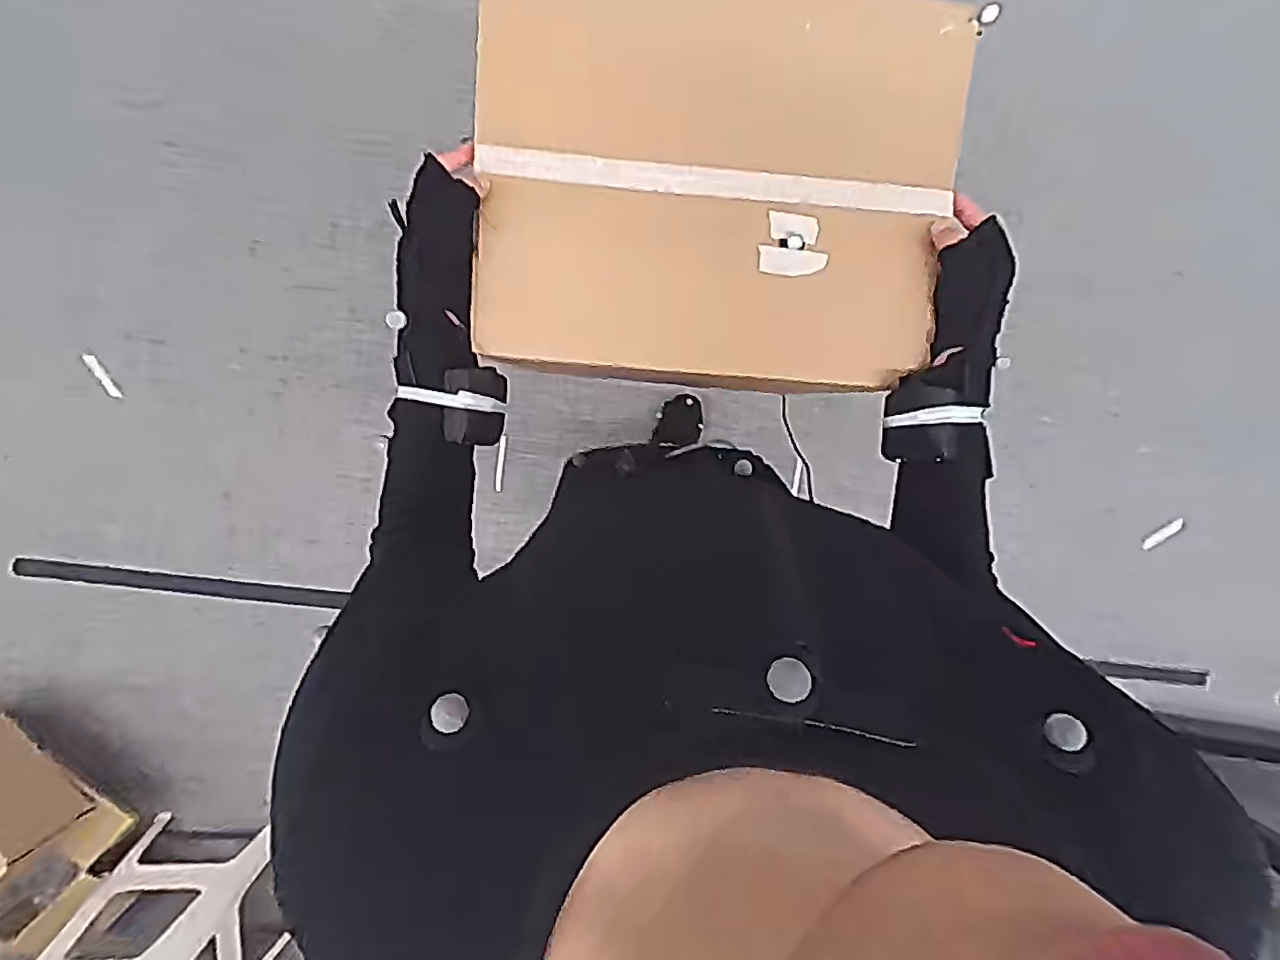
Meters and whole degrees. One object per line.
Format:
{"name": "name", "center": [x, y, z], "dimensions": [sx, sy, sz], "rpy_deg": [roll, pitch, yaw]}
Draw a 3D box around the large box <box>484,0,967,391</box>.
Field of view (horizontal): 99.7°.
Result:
{"name": "large box", "center": [0.060, -0.271, 0.612], "dimensions": [0.408, 0.320, 0.320], "rpy_deg": [5, 100, -4]}
